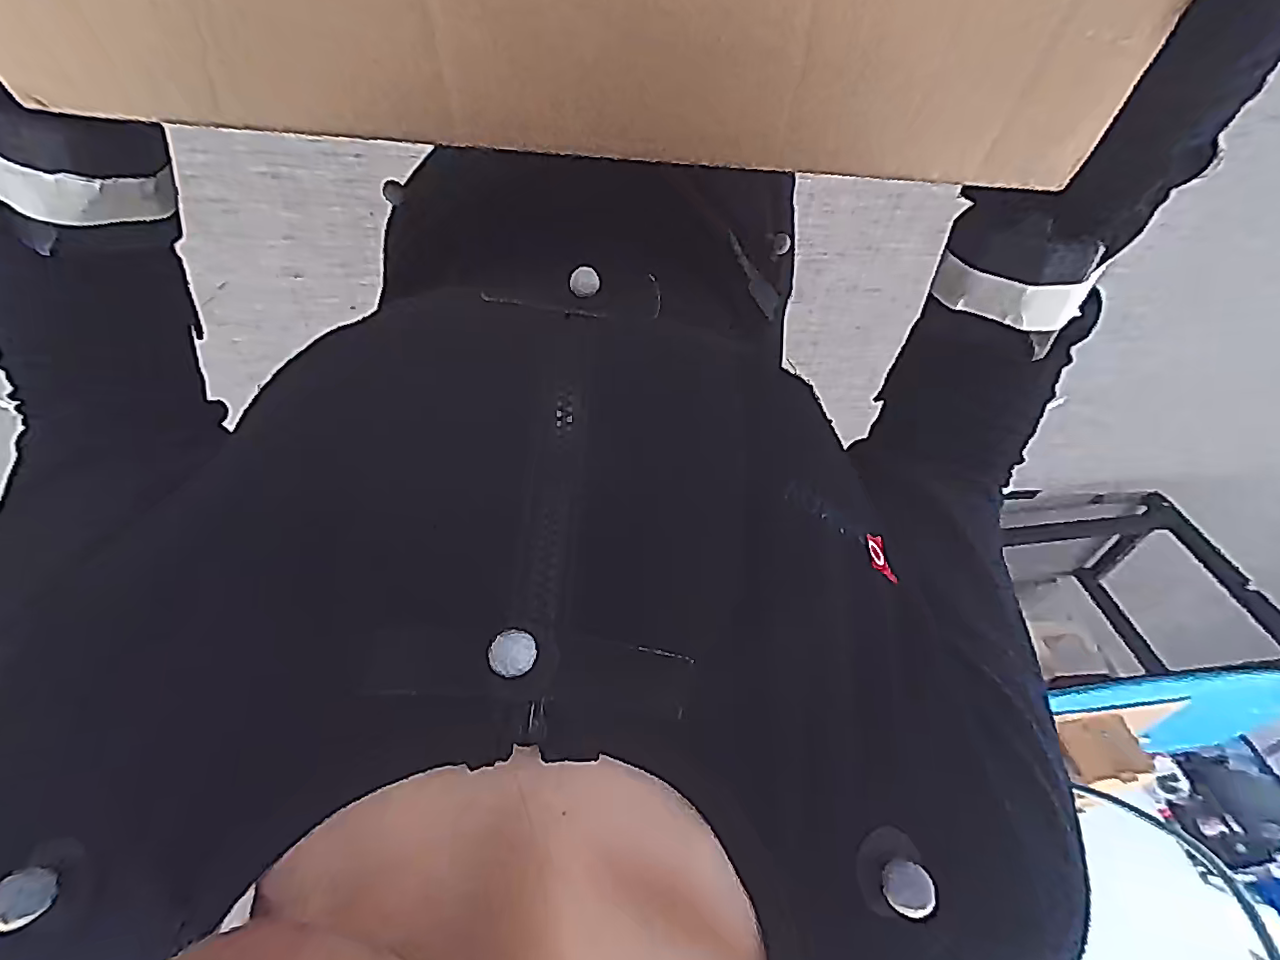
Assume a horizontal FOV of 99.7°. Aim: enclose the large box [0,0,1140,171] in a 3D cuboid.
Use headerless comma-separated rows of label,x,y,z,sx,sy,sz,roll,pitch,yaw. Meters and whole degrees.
large box,-0.019,-0.348,0.183,0.408,0.320,0.320,4,143,-1
